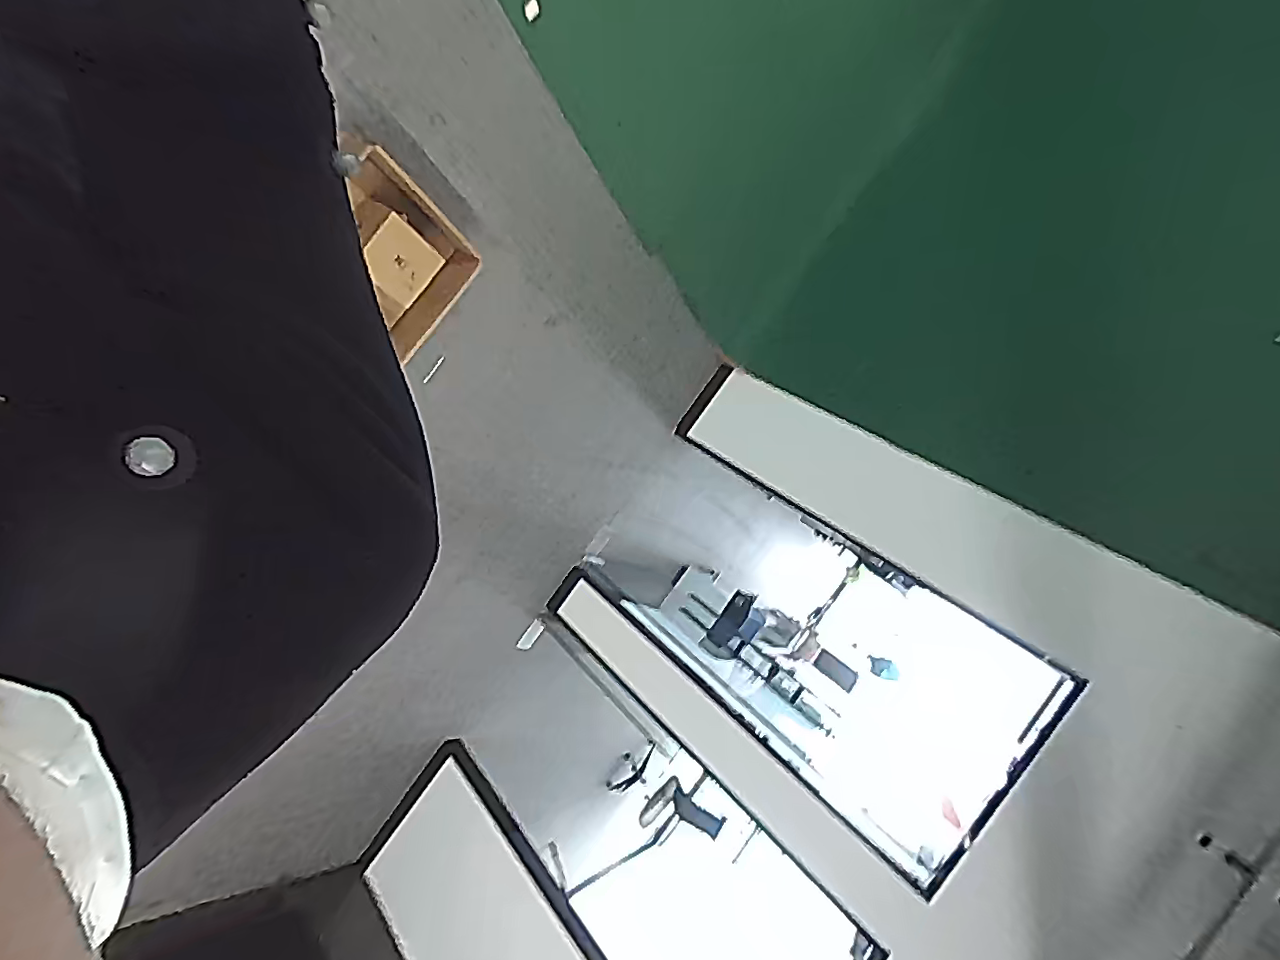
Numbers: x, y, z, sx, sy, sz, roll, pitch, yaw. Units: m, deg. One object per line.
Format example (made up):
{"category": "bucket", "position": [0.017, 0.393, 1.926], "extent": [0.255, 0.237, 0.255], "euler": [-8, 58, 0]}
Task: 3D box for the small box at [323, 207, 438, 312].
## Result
{"category": "small box", "position": [-0.664, -0.567, 1.380], "extent": [0.168, 0.176, 0.179], "euler": [-52, 148, -2]}
